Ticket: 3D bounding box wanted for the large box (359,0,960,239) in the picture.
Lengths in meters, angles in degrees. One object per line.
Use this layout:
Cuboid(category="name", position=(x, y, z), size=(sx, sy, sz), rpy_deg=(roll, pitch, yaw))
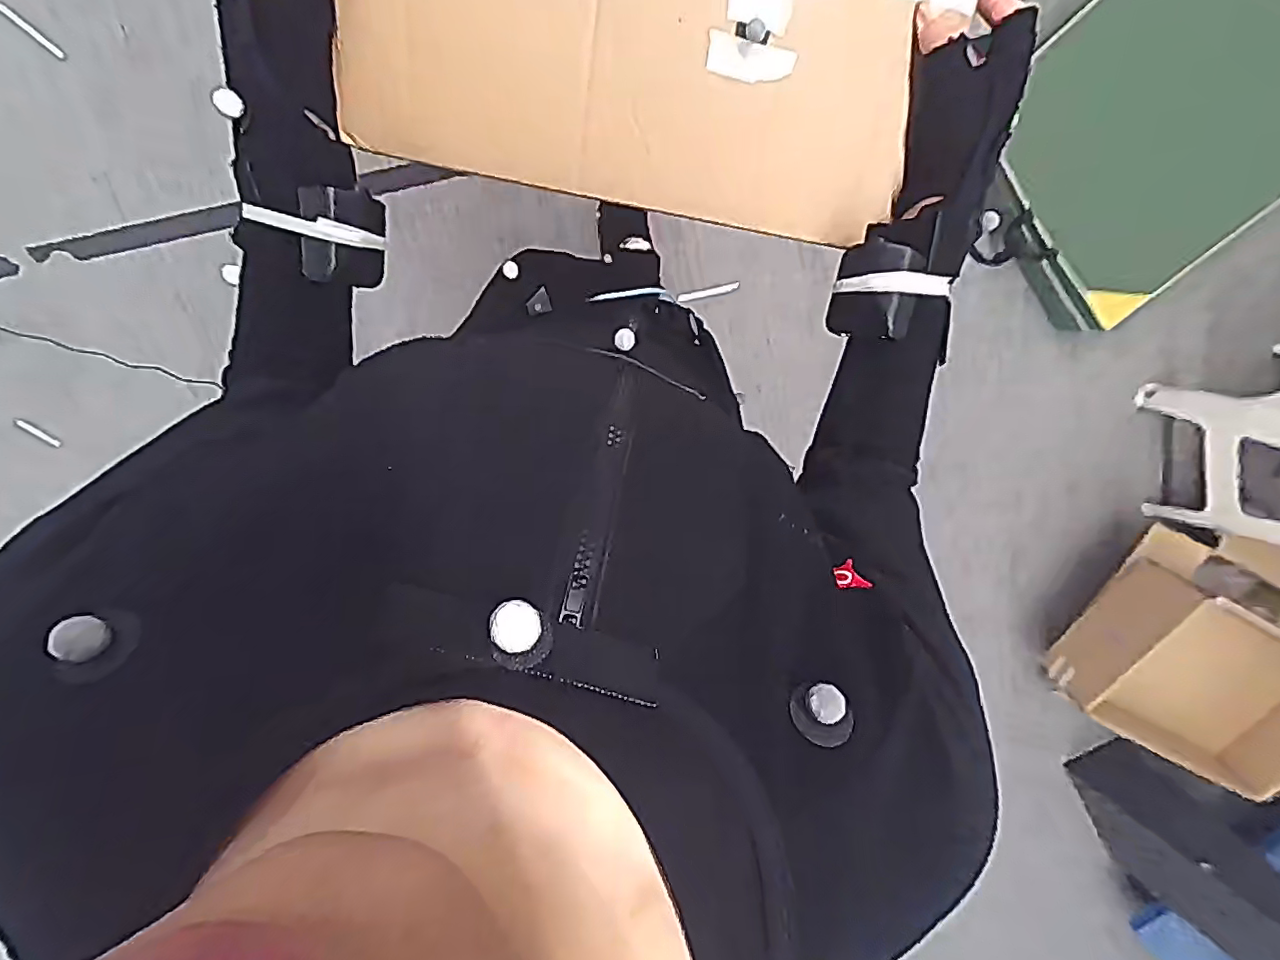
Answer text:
Cuboid(category="large box", position=(0.016, -0.425, 0.471), size=(0.408, 0.320, 0.320), rpy_deg=(8, 120, -7))
